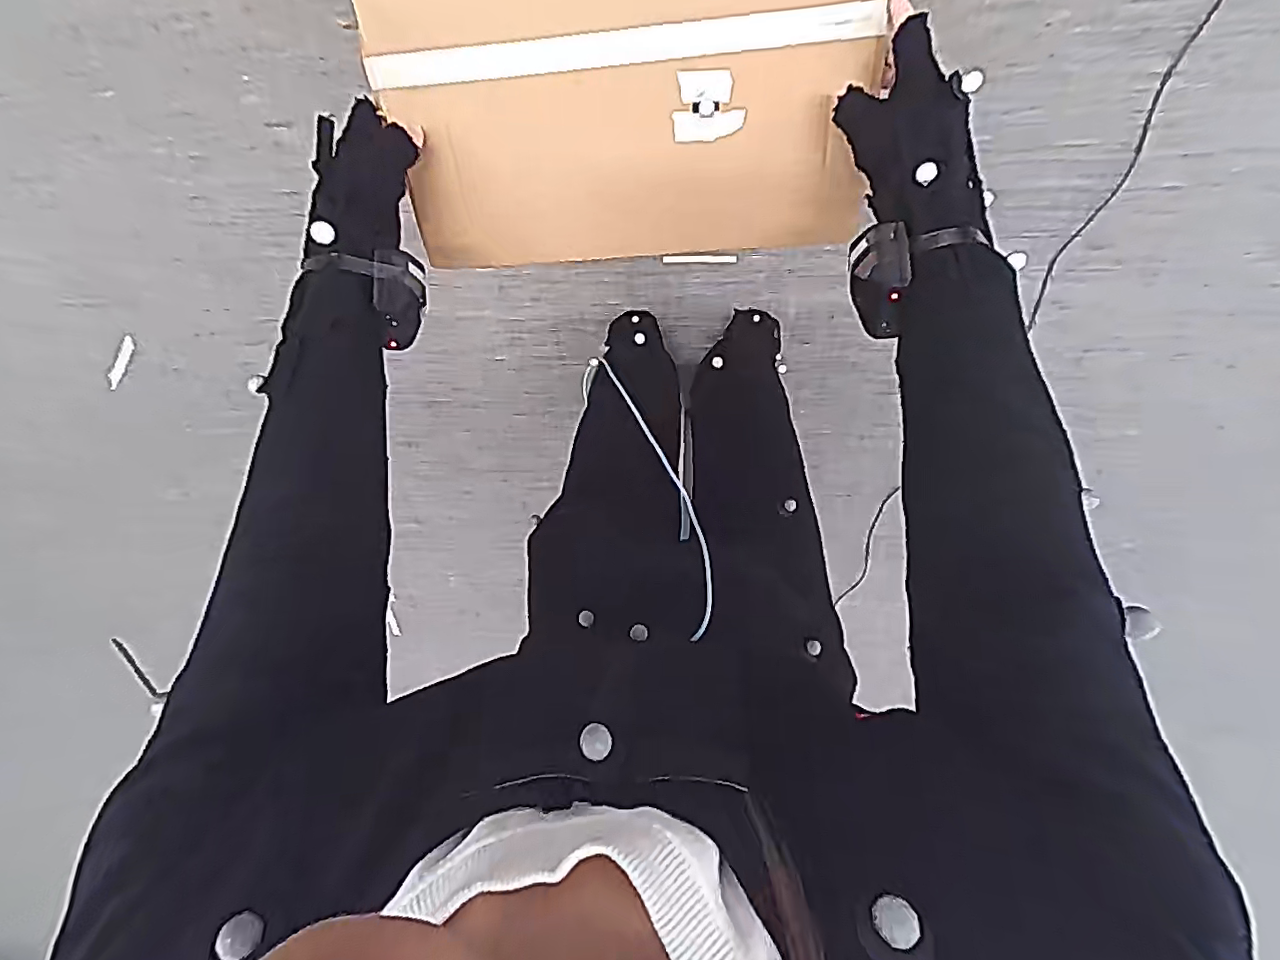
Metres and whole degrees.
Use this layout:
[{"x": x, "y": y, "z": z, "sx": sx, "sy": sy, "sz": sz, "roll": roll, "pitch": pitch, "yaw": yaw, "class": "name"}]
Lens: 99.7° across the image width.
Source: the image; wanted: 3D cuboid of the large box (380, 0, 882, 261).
[{"x": -0.002, "y": -0.441, "z": 0.564, "sx": 0.408, "sy": 0.320, "sz": 0.320, "roll": -3, "pitch": 125, "yaw": 5, "class": "large box"}]
